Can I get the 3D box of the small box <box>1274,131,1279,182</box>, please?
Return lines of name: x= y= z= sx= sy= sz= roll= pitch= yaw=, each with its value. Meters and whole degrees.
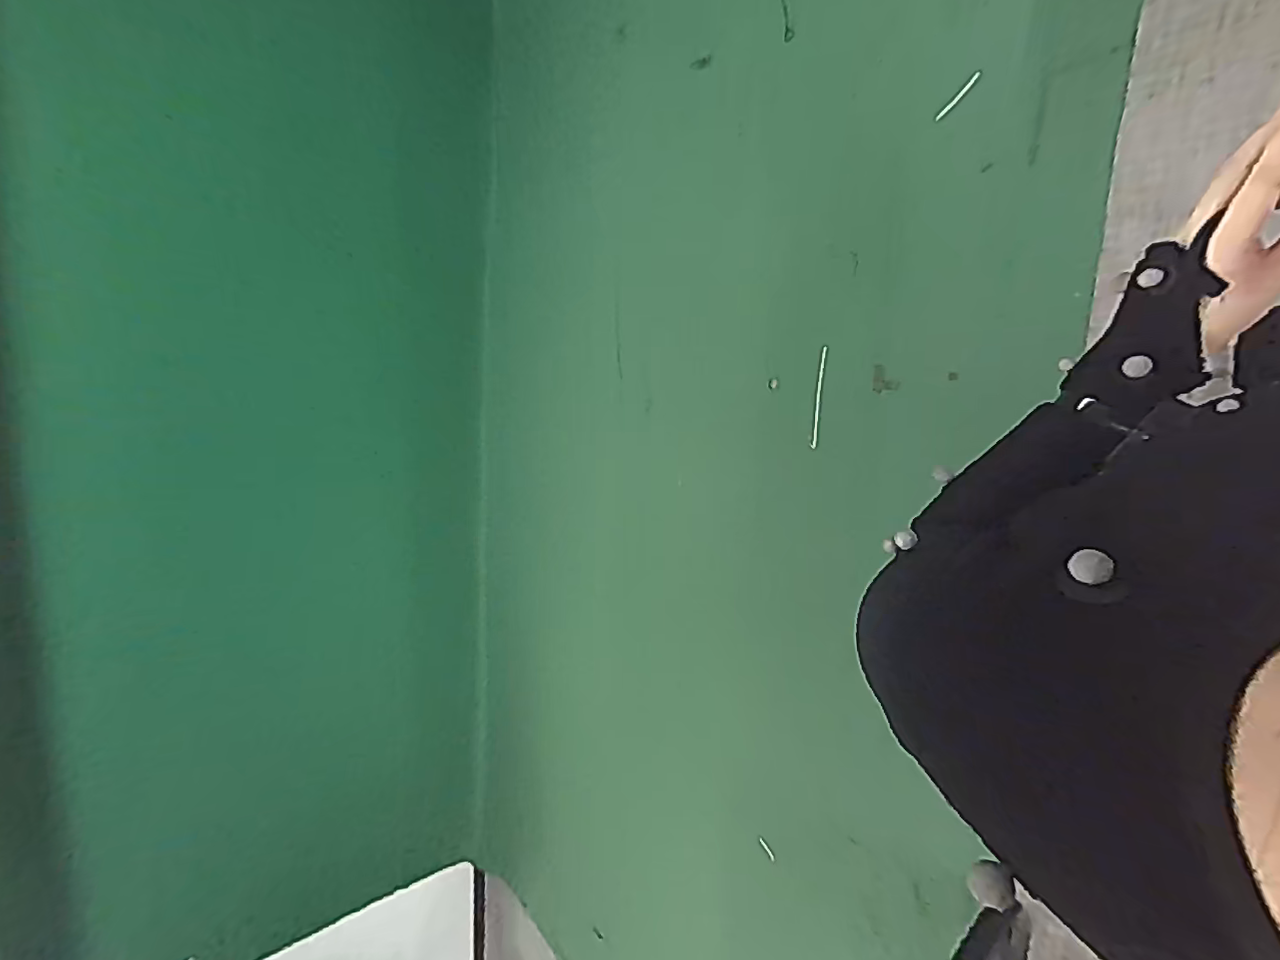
small box: x=0.420 y=-0.240 z=0.224 sx=0.179 sy=0.176 sz=0.168 roll=15 pitch=108 yaw=42
